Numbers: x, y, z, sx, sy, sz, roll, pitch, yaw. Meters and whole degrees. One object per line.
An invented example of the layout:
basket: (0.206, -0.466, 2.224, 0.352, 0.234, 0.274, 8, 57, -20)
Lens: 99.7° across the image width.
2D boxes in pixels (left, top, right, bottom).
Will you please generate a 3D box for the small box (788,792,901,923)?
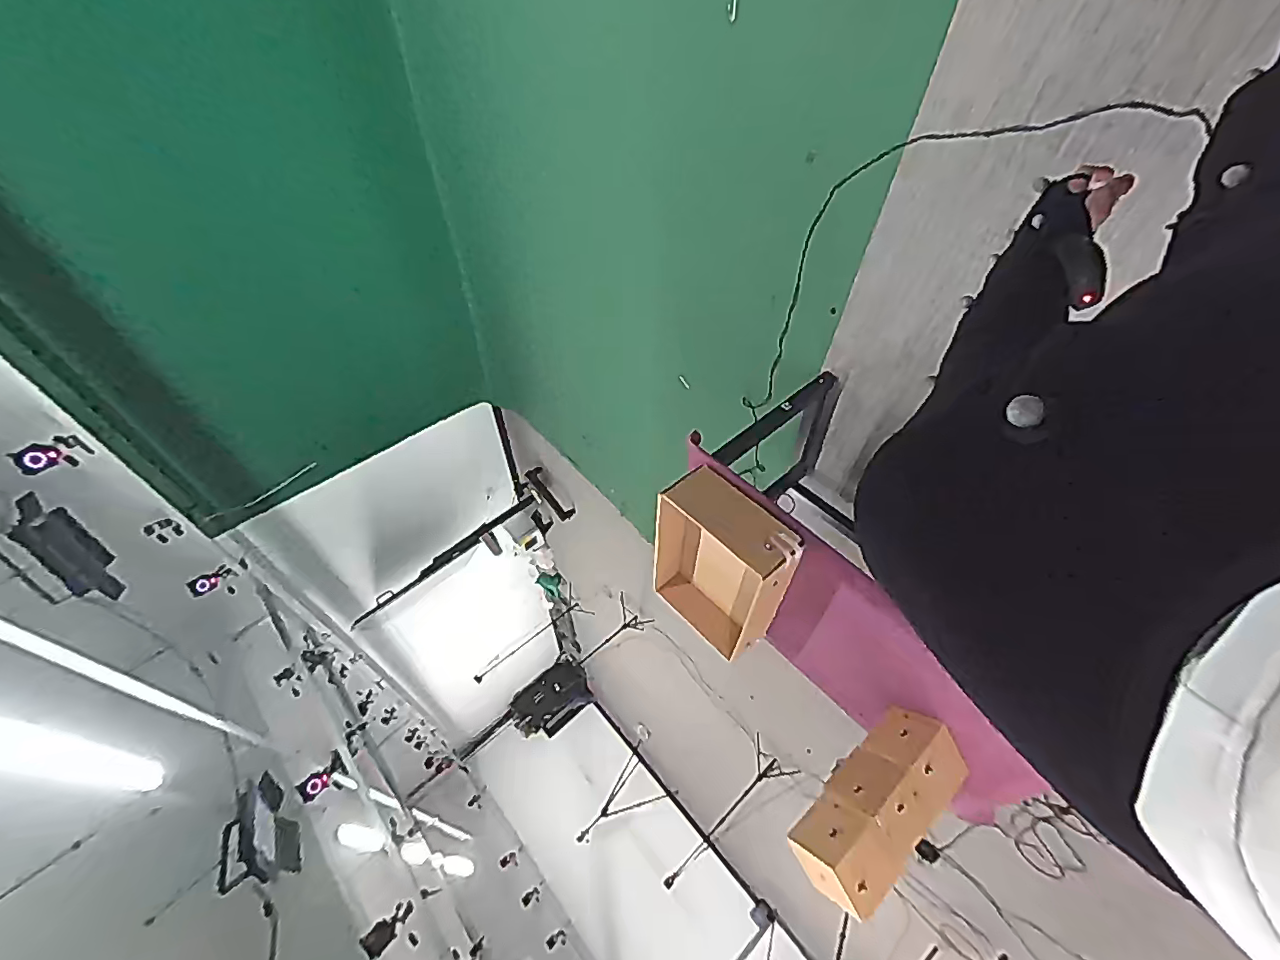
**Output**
small box: (0.513, 0.931, 1.356, 0.179, 0.176, 0.168, 60, 154, -8)

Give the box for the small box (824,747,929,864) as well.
small box: (0.630, 0.844, 1.427, 0.168, 0.176, 0.179, 61, 154, -9)

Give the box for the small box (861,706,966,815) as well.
small box: (0.755, 0.762, 1.491, 0.179, 0.176, 0.168, 60, 155, -10)
